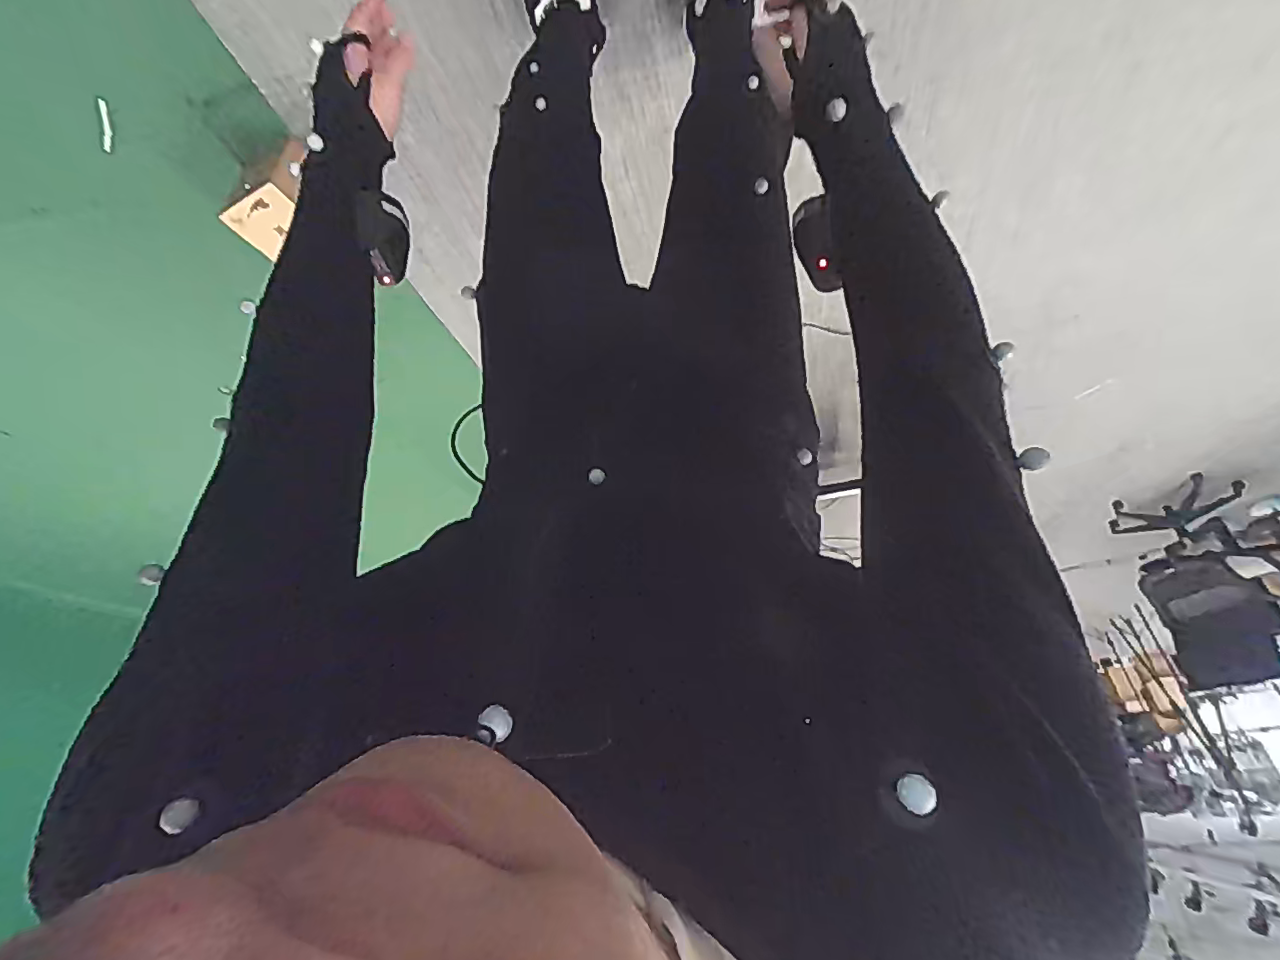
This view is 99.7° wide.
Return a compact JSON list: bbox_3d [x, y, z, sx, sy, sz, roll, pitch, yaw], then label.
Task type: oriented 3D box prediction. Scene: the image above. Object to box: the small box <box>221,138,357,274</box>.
[{"bbox_3d":[-0.758,-0.599,1.189,0.168,0.176,0.179,-16,149,20],"label":"small box"}]
